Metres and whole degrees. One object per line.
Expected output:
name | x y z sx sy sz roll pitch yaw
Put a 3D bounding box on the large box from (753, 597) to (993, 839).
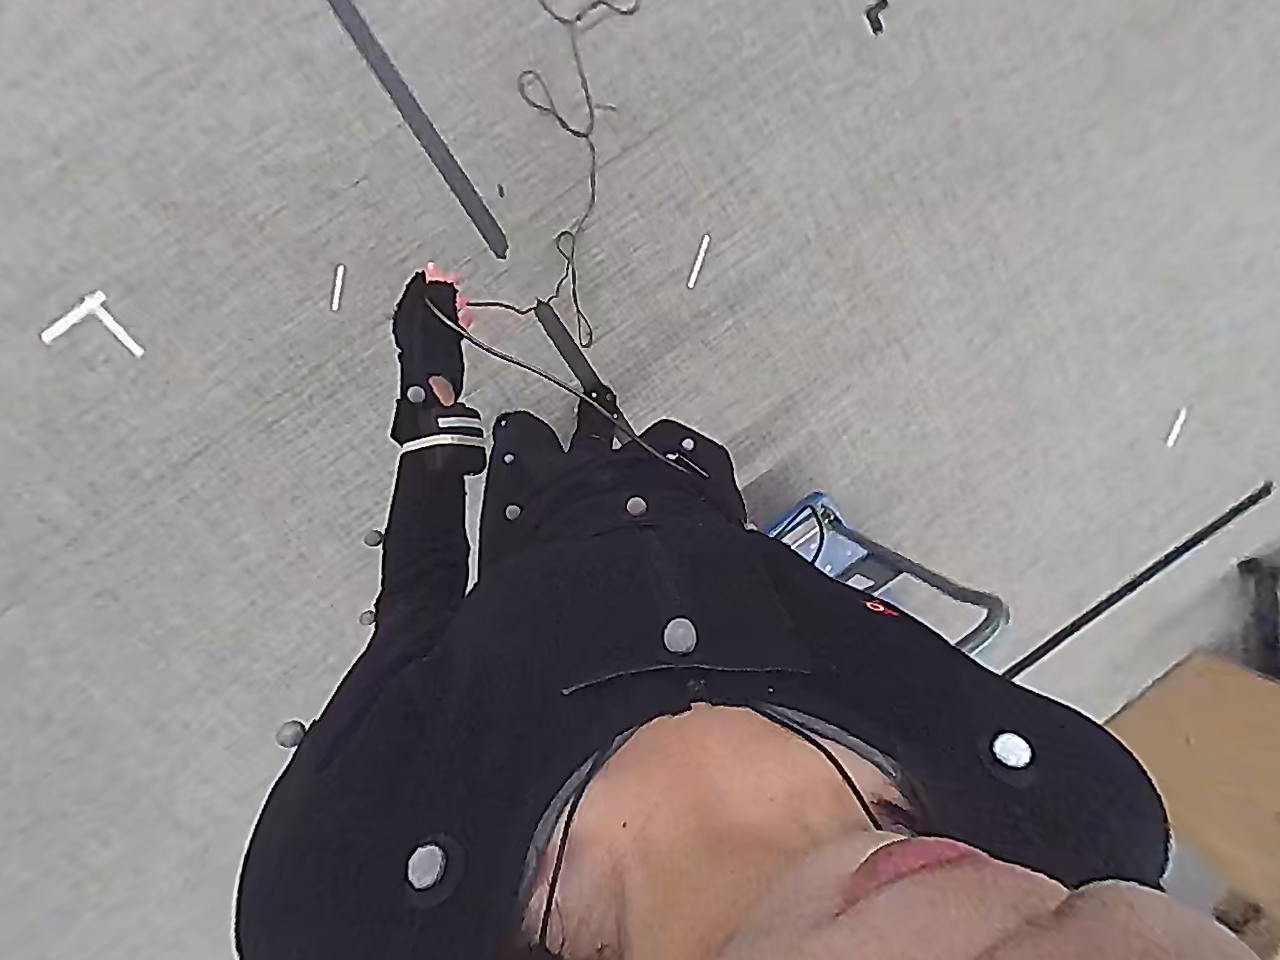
large box | 0.573 0.587 1.390 0.408 0.320 0.320 -43 104 3
